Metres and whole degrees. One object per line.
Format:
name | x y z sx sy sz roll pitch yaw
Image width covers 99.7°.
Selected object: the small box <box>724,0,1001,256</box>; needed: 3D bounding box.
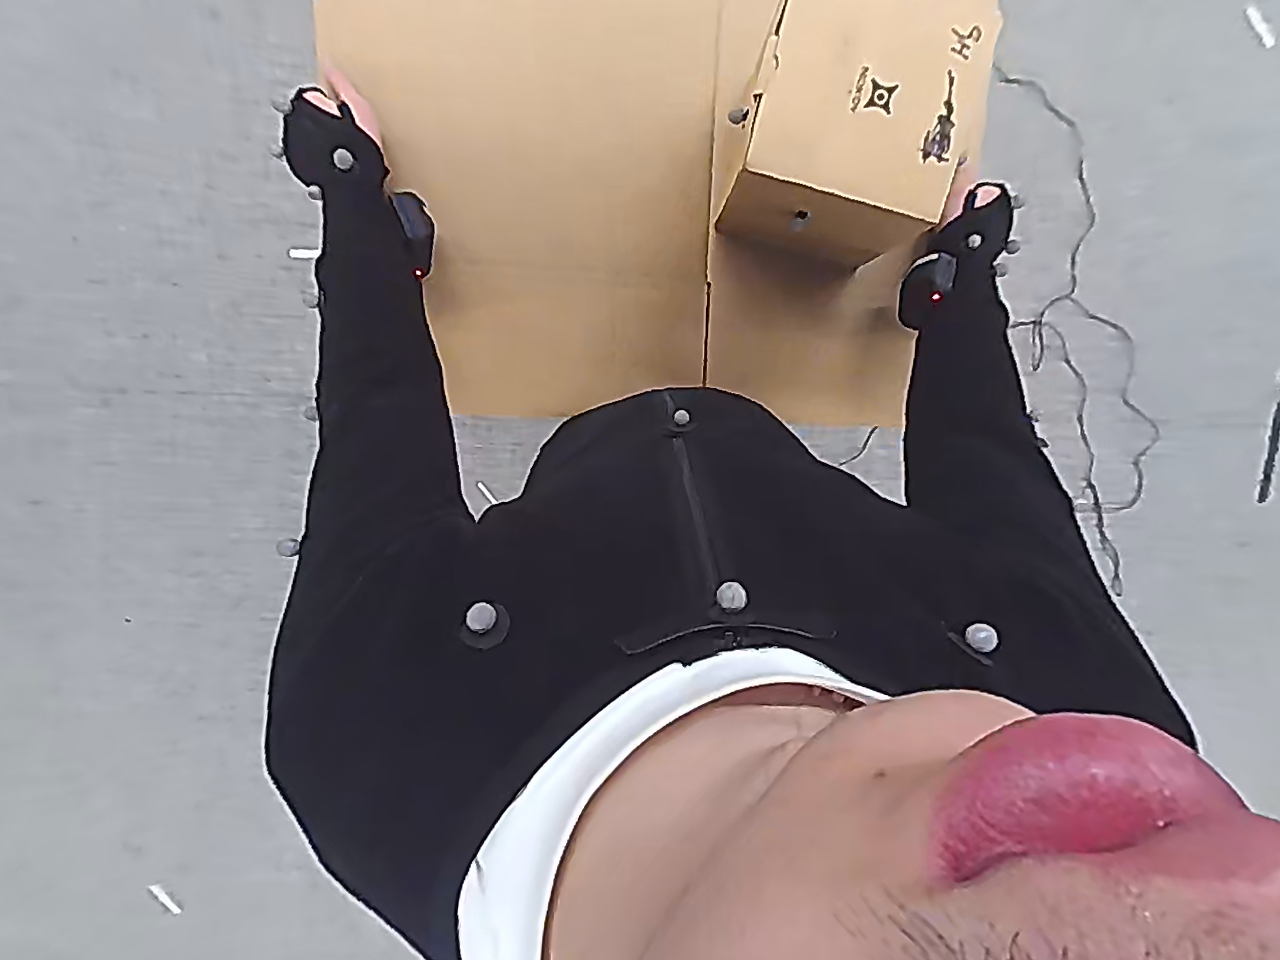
small box | 0.190 -0.336 0.525 0.179 0.176 0.168 14 99 -2
